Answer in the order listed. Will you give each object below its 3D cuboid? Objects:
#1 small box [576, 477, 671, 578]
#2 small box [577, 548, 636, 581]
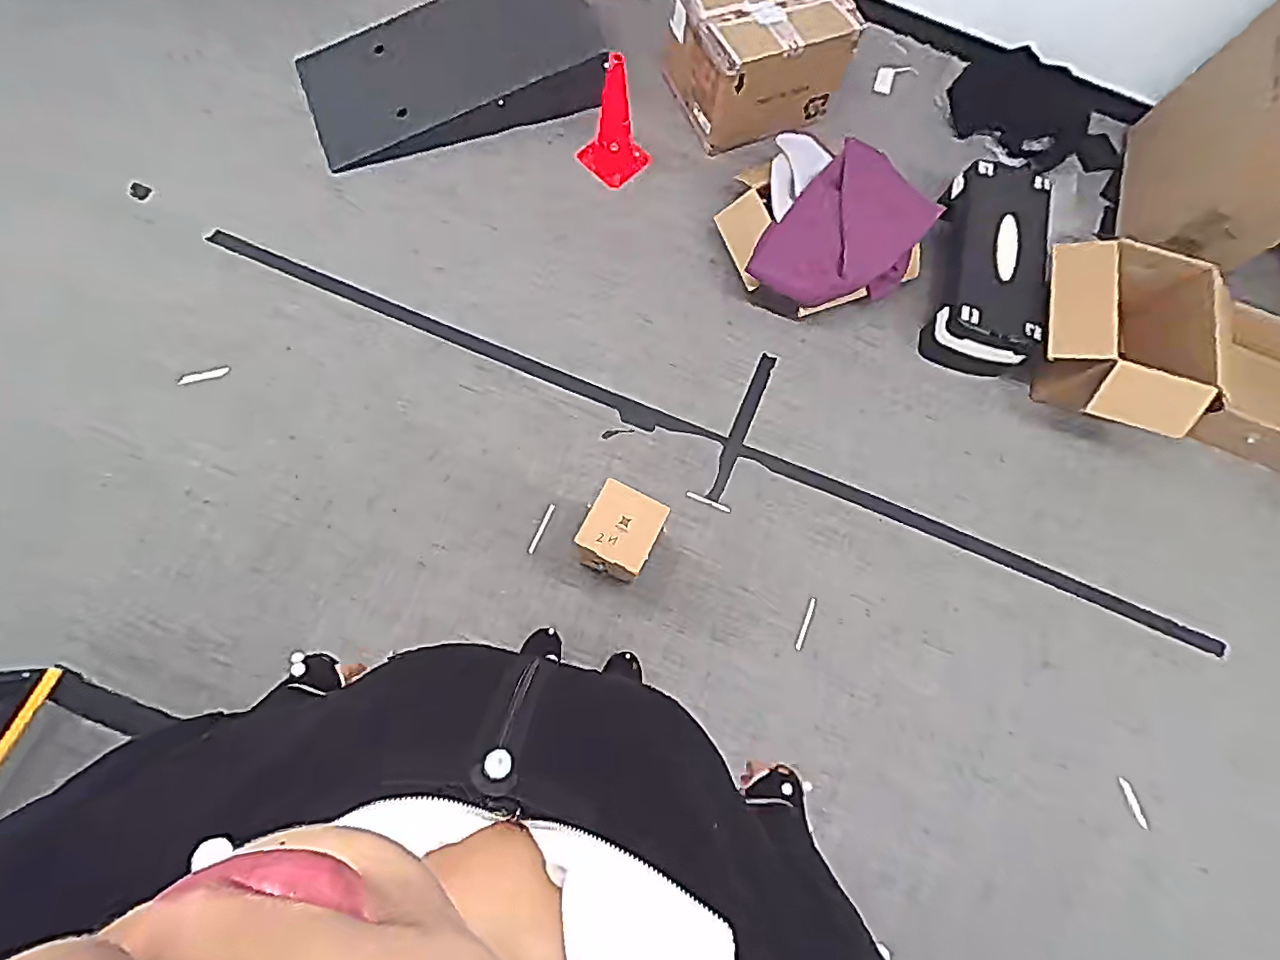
[{"bbox_3d":[-0.044,0.122,1.316,0.168,0.176,0.179,27,75,3],"label":"small box"},{"bbox_3d":[-0.060,0.166,1.475,0.168,0.176,0.179,22,76,1],"label":"small box"}]
